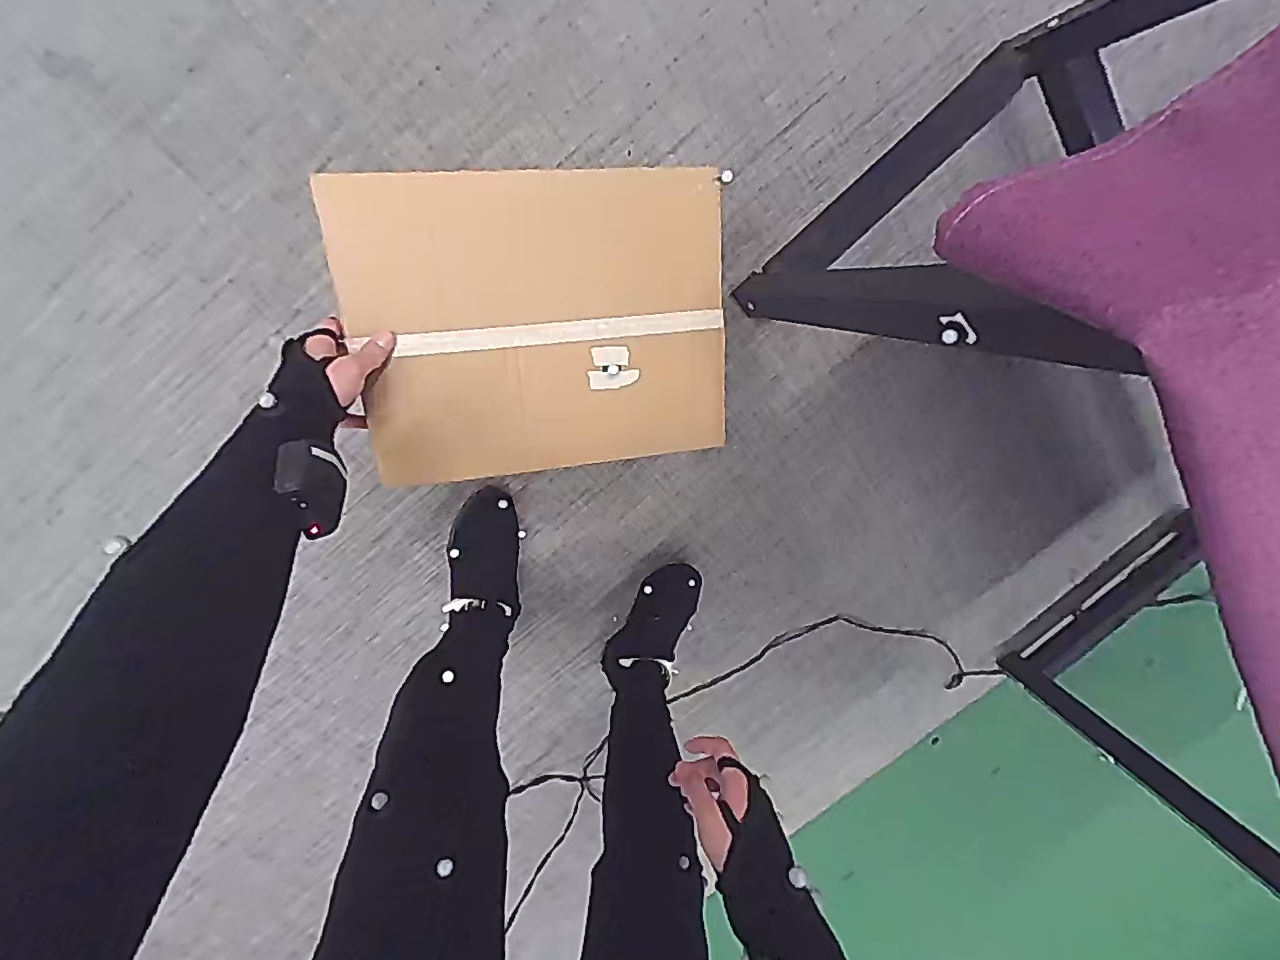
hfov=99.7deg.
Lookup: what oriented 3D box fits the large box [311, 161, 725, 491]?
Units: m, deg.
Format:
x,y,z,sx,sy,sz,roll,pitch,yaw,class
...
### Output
x,y,z,sx,sy,sz,roll,pitch,yaw,class
-0.136,-0.206,0.719,0.408,0.320,0.320,-9,110,-12,large box
